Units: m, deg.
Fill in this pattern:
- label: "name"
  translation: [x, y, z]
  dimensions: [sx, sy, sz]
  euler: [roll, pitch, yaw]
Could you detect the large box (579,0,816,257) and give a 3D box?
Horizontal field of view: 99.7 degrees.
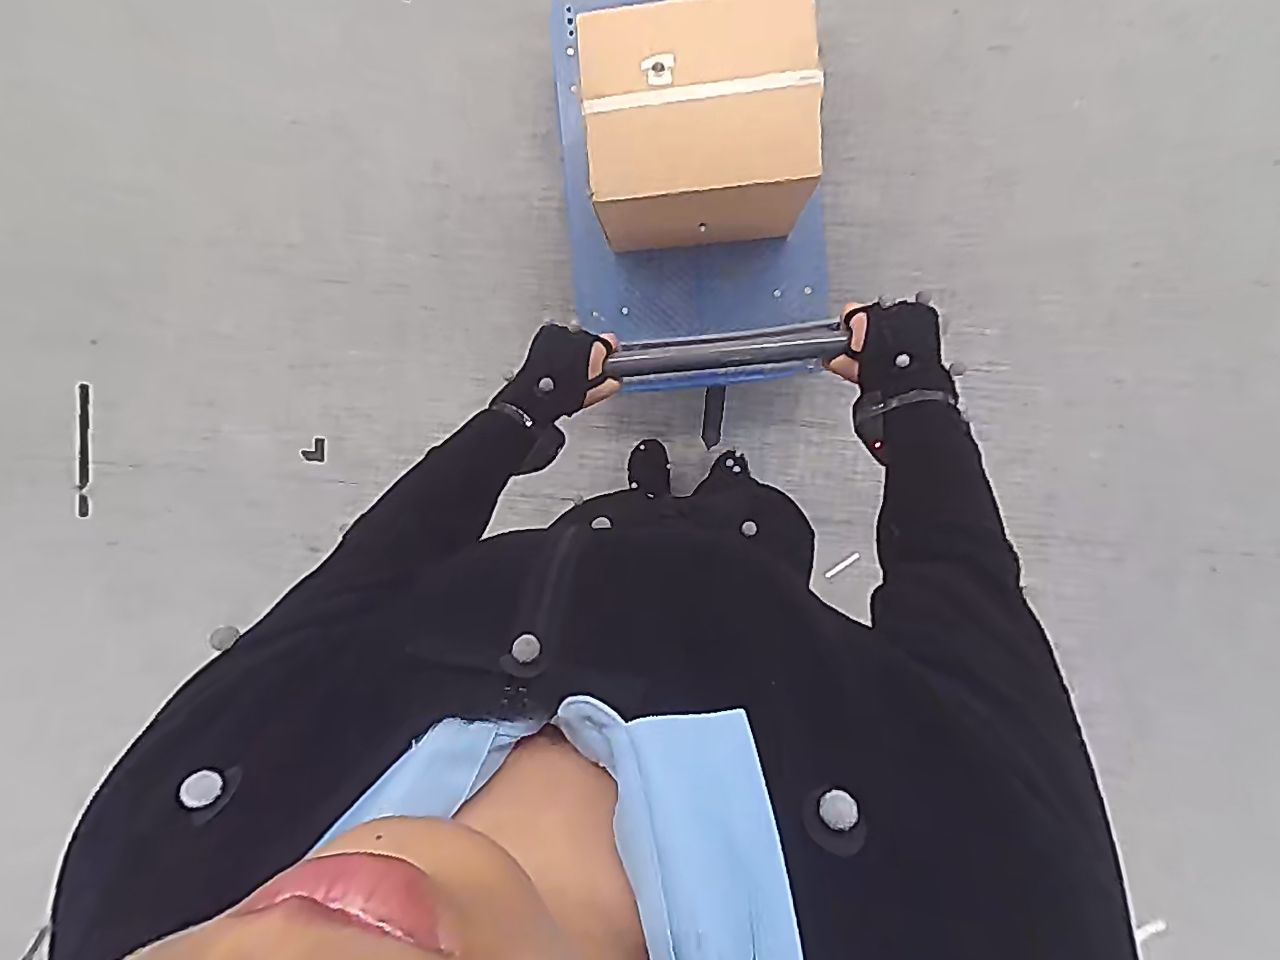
- label: "large box"
  translation: [0.116, -0.675, 1.102]
  dimensions: [0.408, 0.320, 0.320]
  euler: [-4, 95, 6]
